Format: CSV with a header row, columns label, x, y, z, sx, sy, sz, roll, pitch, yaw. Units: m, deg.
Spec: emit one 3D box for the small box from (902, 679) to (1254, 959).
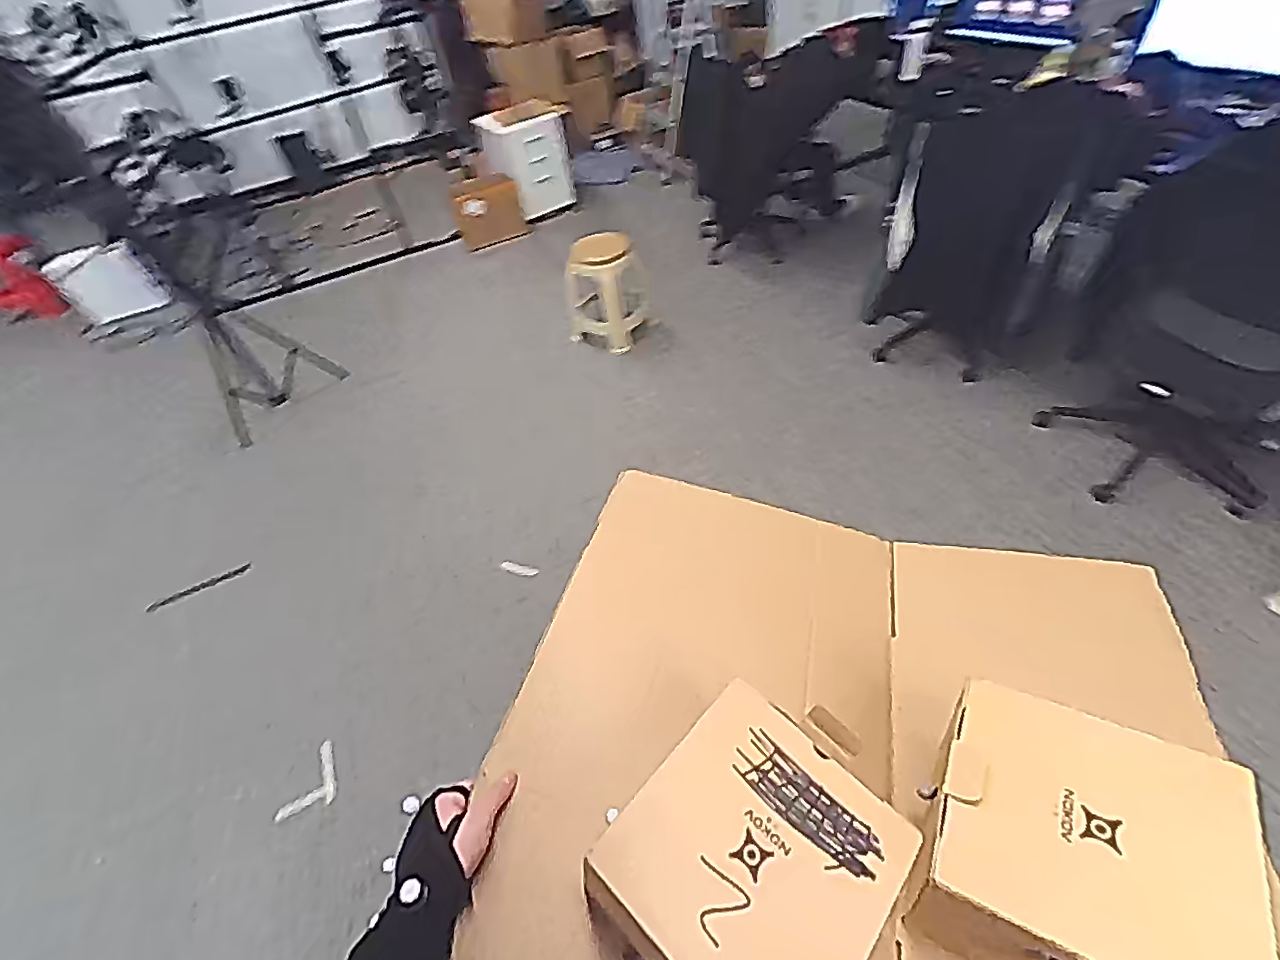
label,x,y,z,sx,sy,sz,roll,pitch,yaw
small box,0.329,0.300,0.440,0.179,0.176,0.168,12,49,30
